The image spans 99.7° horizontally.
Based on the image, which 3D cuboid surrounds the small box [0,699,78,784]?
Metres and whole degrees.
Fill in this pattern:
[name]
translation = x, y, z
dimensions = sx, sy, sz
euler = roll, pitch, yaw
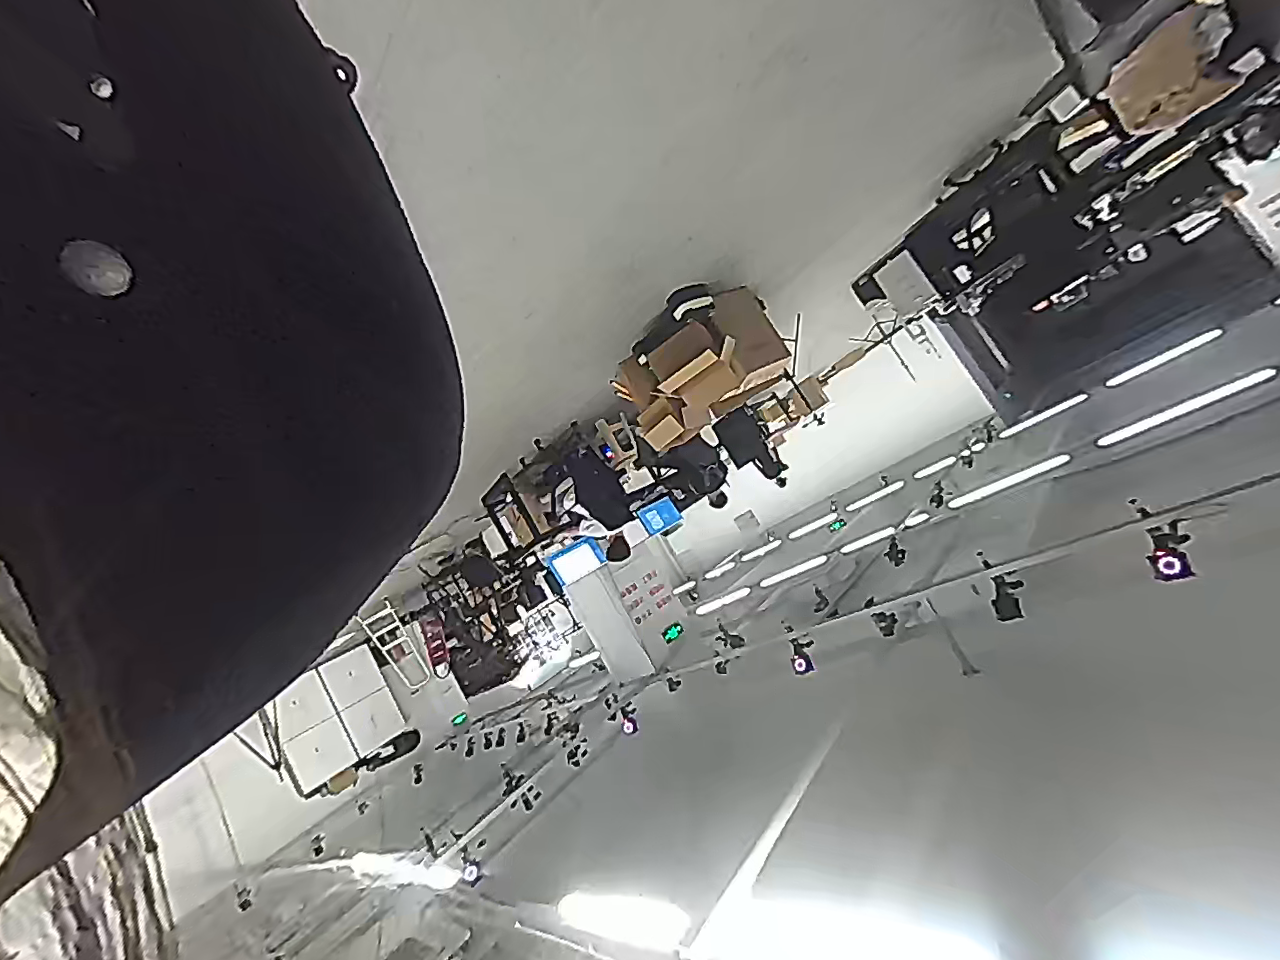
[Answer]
[small box]
translation = -1.920, 0.814, 1.692
dimensions = 0.179, 0.176, 0.168
euler = -23, 169, -45
